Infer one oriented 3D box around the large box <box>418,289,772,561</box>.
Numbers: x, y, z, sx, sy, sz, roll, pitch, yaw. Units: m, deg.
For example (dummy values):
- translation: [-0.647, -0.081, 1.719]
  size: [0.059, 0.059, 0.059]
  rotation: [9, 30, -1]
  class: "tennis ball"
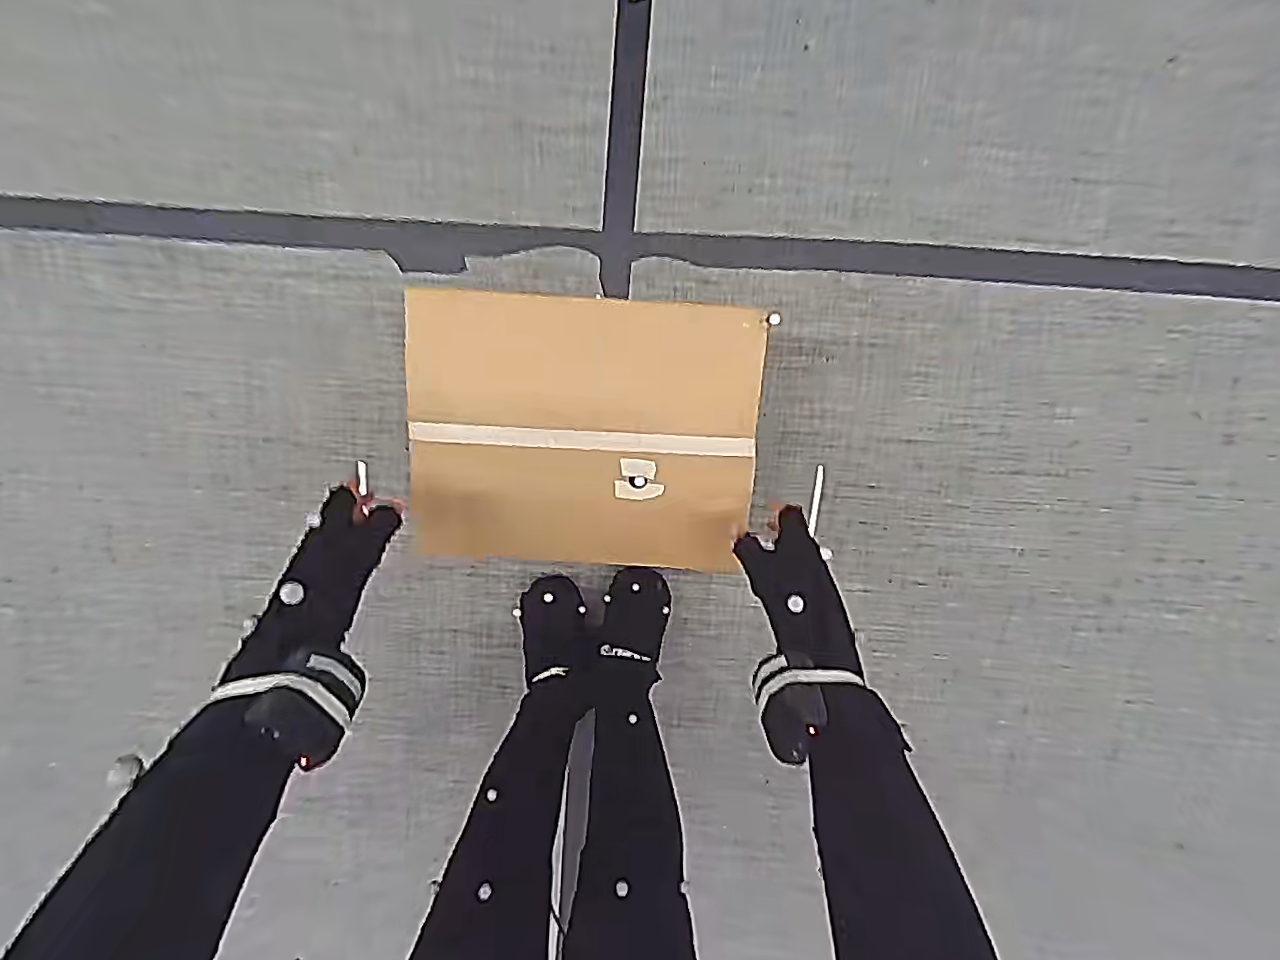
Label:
- translation: [-0.060, -0.086, 0.781]
  size: [0.408, 0.320, 0.320]
  rotation: [3, 104, -2]
  class: "large box"
